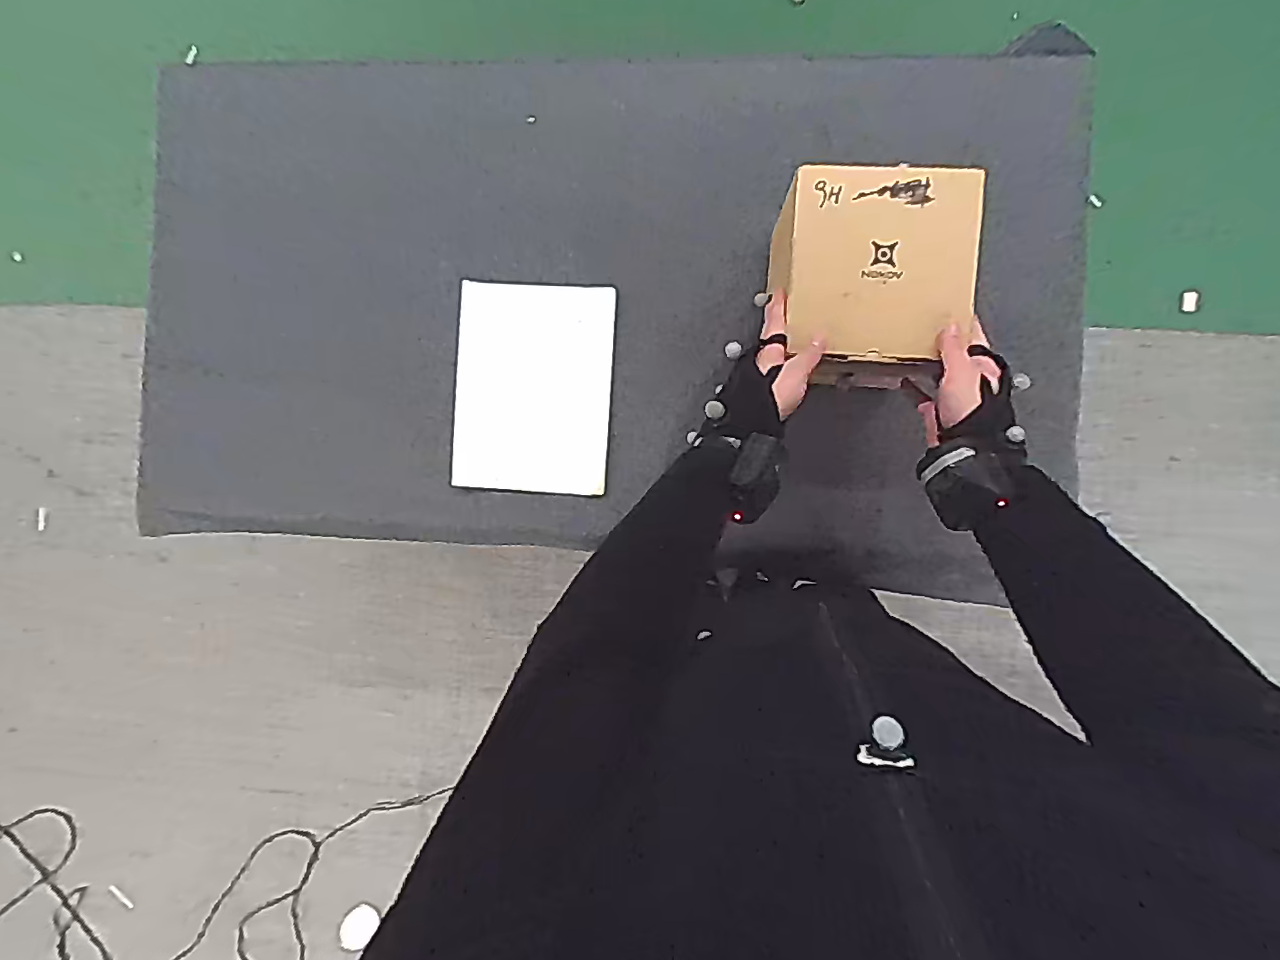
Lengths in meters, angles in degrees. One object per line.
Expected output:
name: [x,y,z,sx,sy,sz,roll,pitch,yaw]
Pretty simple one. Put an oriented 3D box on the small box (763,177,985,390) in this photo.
small box: [0.228,-0.192,0.574,0.168,0.176,0.179,4,94,5]
